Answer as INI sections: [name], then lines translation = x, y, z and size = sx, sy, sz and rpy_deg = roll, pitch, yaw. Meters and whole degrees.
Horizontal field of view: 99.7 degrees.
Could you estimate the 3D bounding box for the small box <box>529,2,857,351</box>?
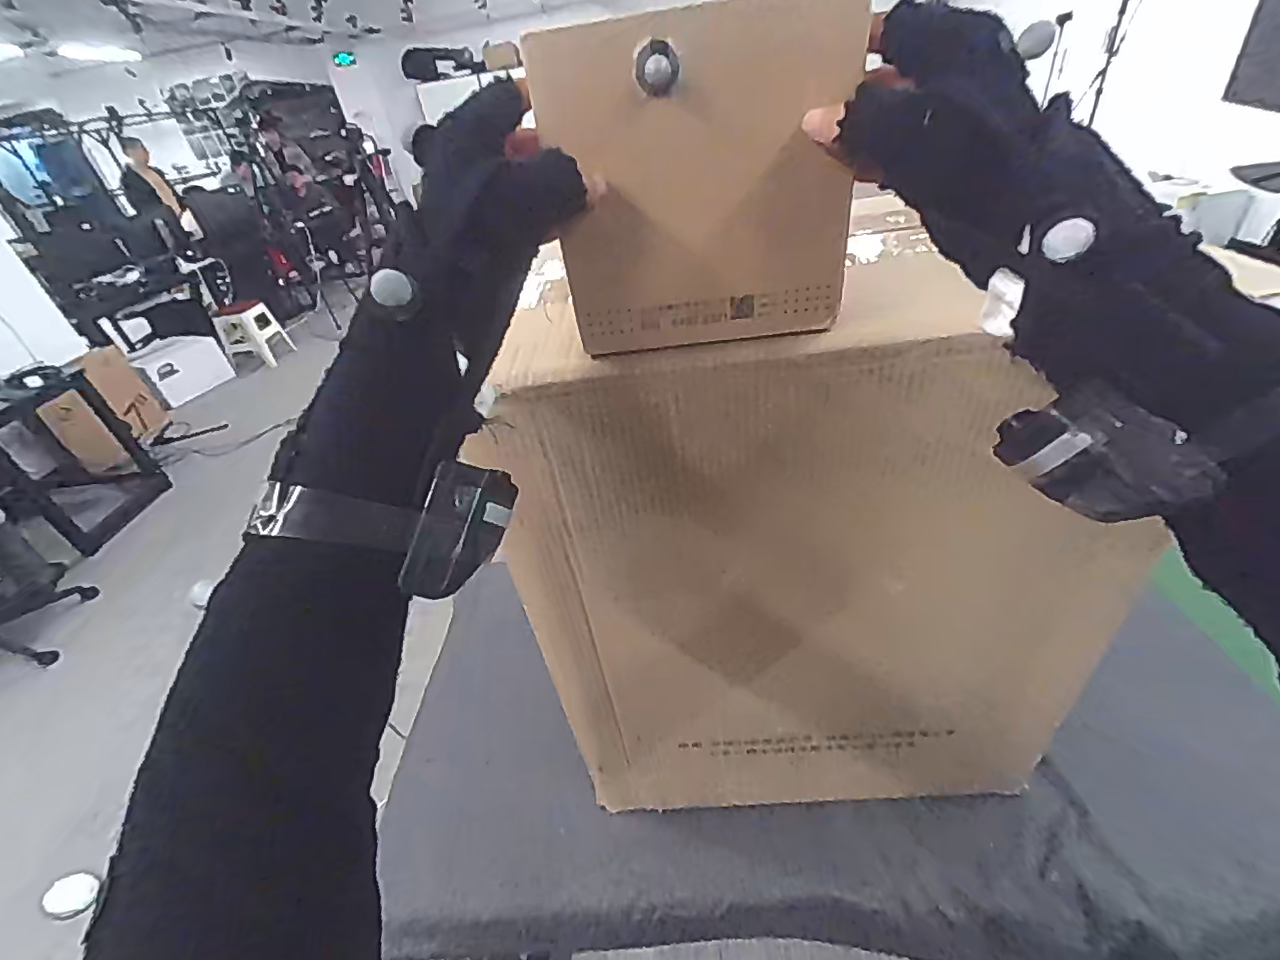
[small box]
translation = 0.035, -0.205, 0.379
size = 0.168, 0.176, 0.179
rpy_deg = -4, 37, 6
